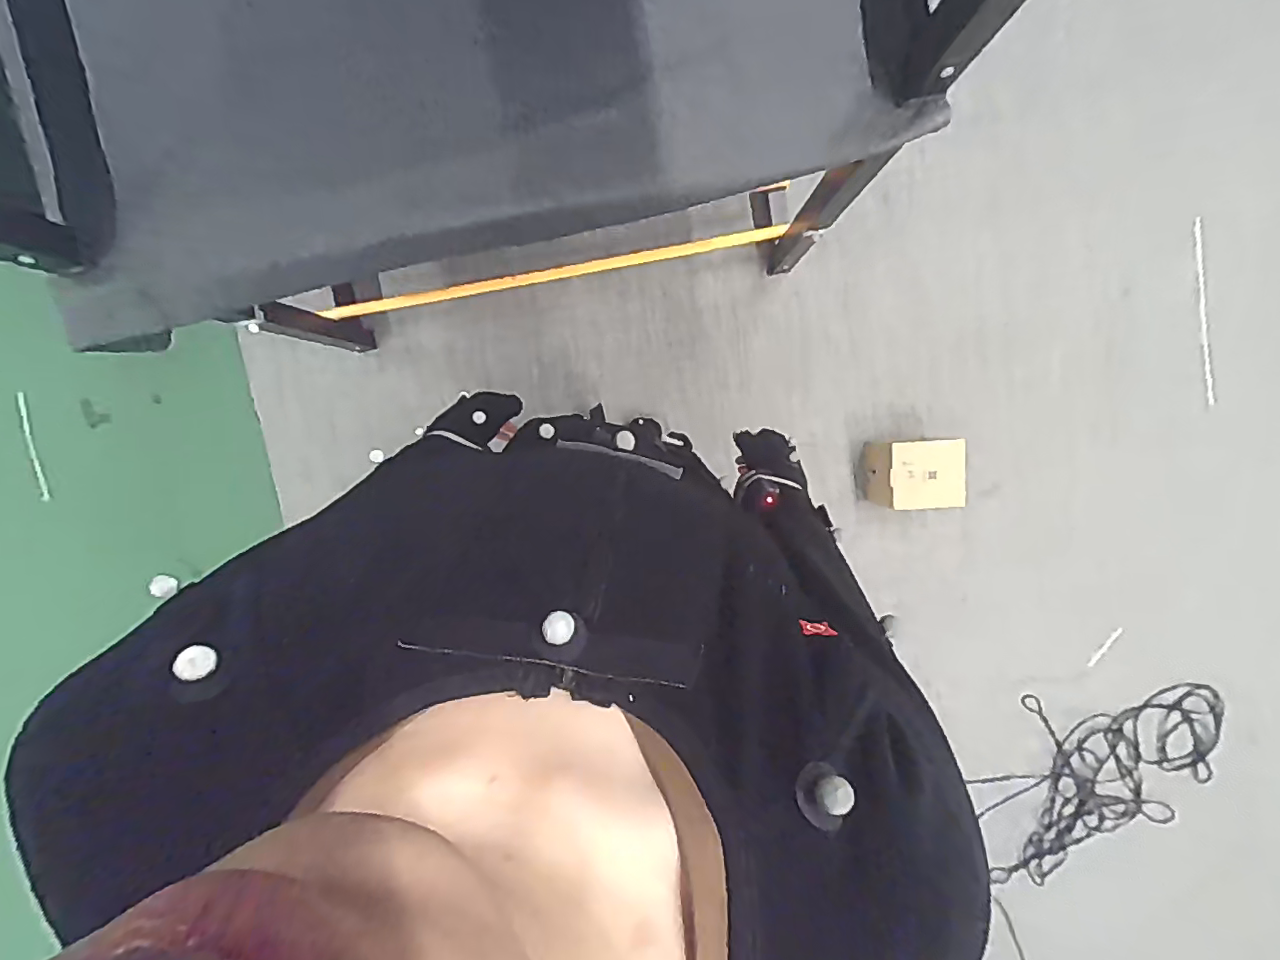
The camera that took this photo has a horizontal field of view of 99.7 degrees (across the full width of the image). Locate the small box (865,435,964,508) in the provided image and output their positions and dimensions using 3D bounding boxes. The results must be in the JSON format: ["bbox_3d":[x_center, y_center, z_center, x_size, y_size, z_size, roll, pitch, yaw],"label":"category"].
[{"bbox_3d":[0.693,-0.026,1.378,0.179,0.176,0.168,-4,96,3],"label":"small box"}]
